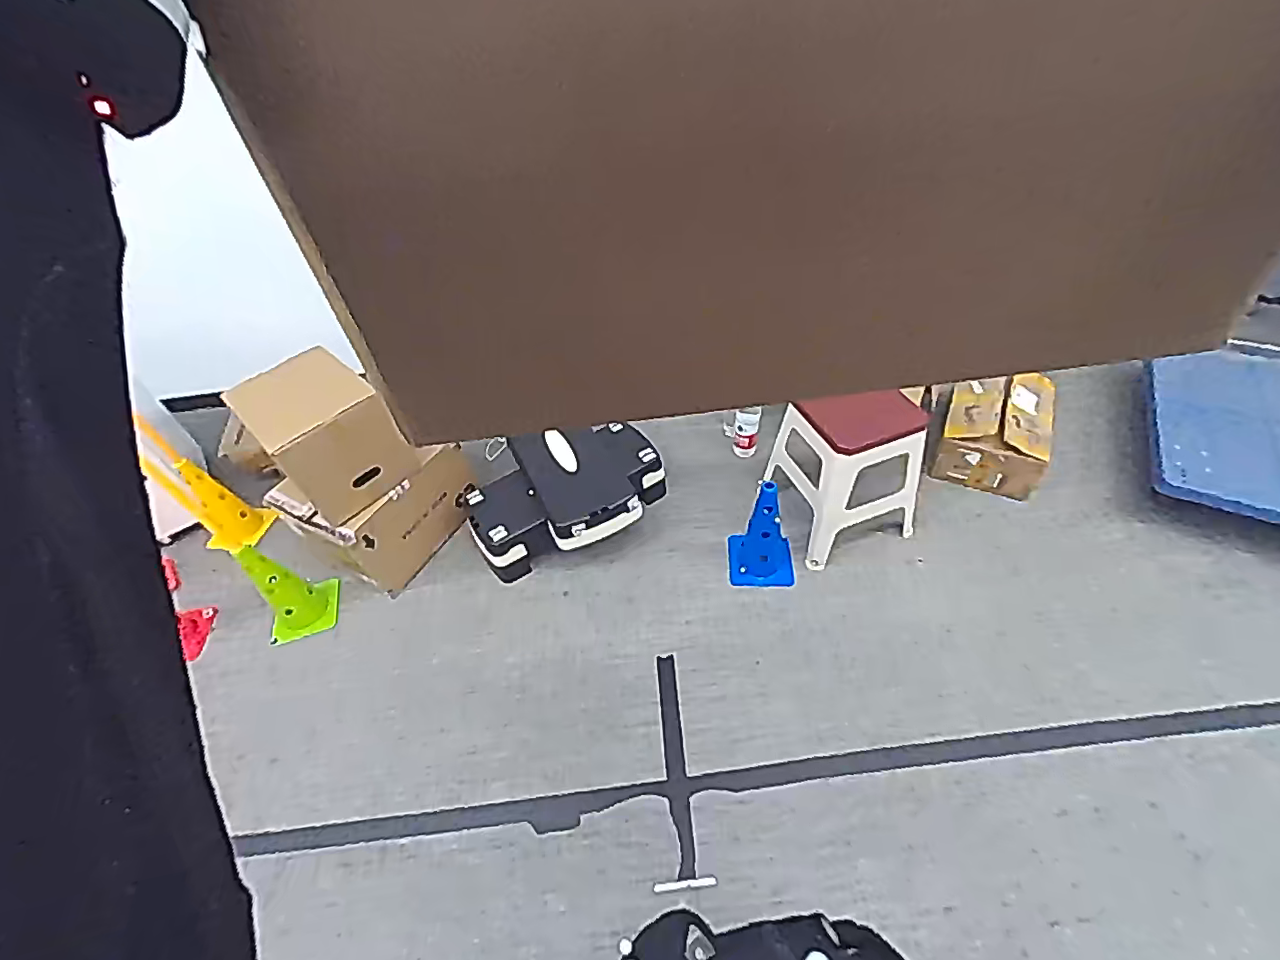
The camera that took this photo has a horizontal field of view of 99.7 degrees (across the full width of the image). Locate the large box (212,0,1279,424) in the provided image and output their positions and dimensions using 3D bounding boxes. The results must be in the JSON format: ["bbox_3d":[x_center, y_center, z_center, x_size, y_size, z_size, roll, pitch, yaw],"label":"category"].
[{"bbox_3d":[0.054,-0.256,0.282,0.408,0.320,0.320,-6,43,1],"label":"large box"}]
